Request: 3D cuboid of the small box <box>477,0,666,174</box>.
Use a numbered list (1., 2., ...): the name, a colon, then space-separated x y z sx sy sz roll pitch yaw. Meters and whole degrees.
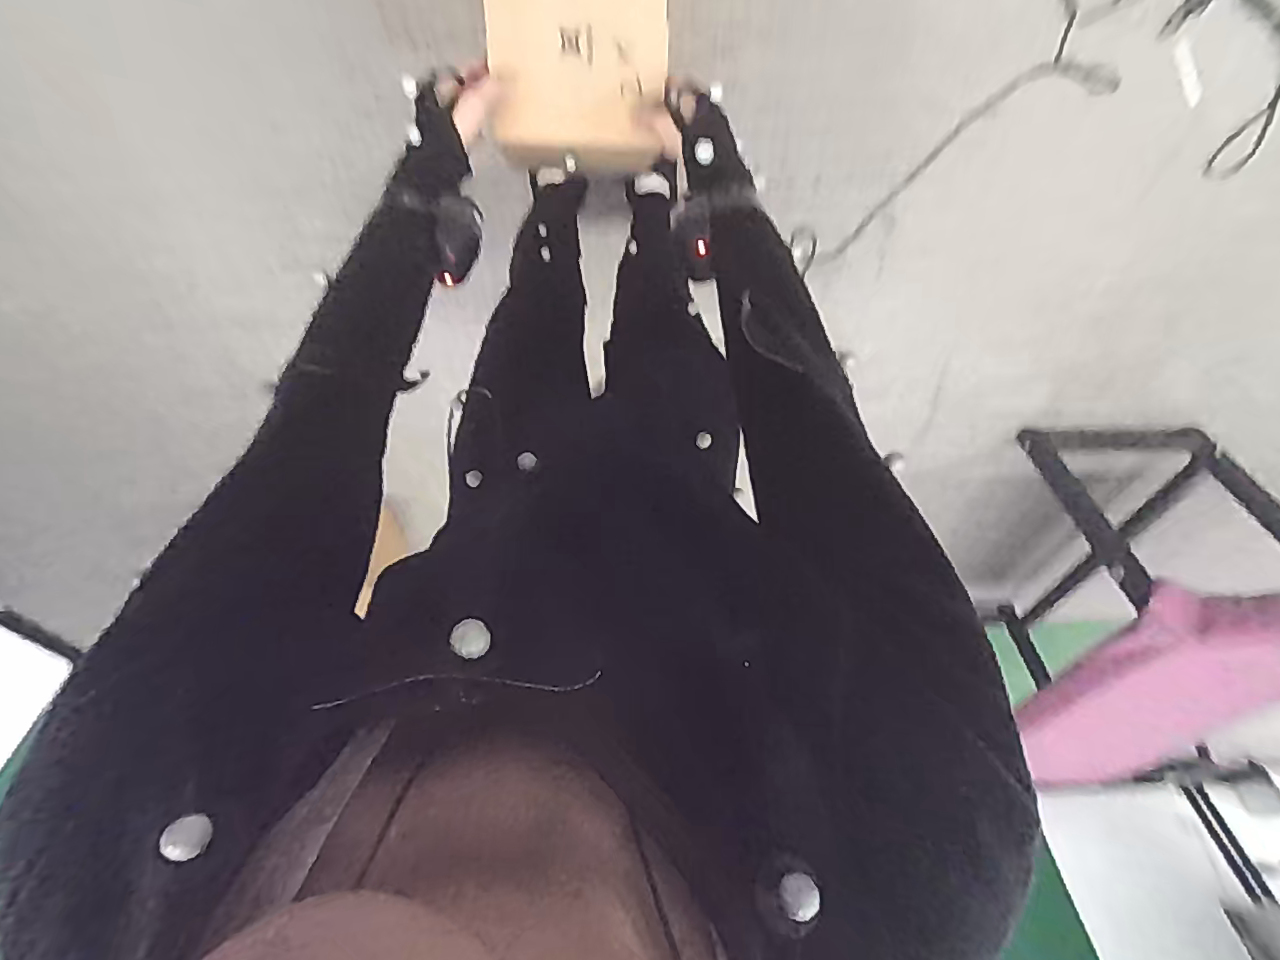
1. small box: -0.071 -0.440 0.586 0.179 0.176 0.168 -1 111 -7
